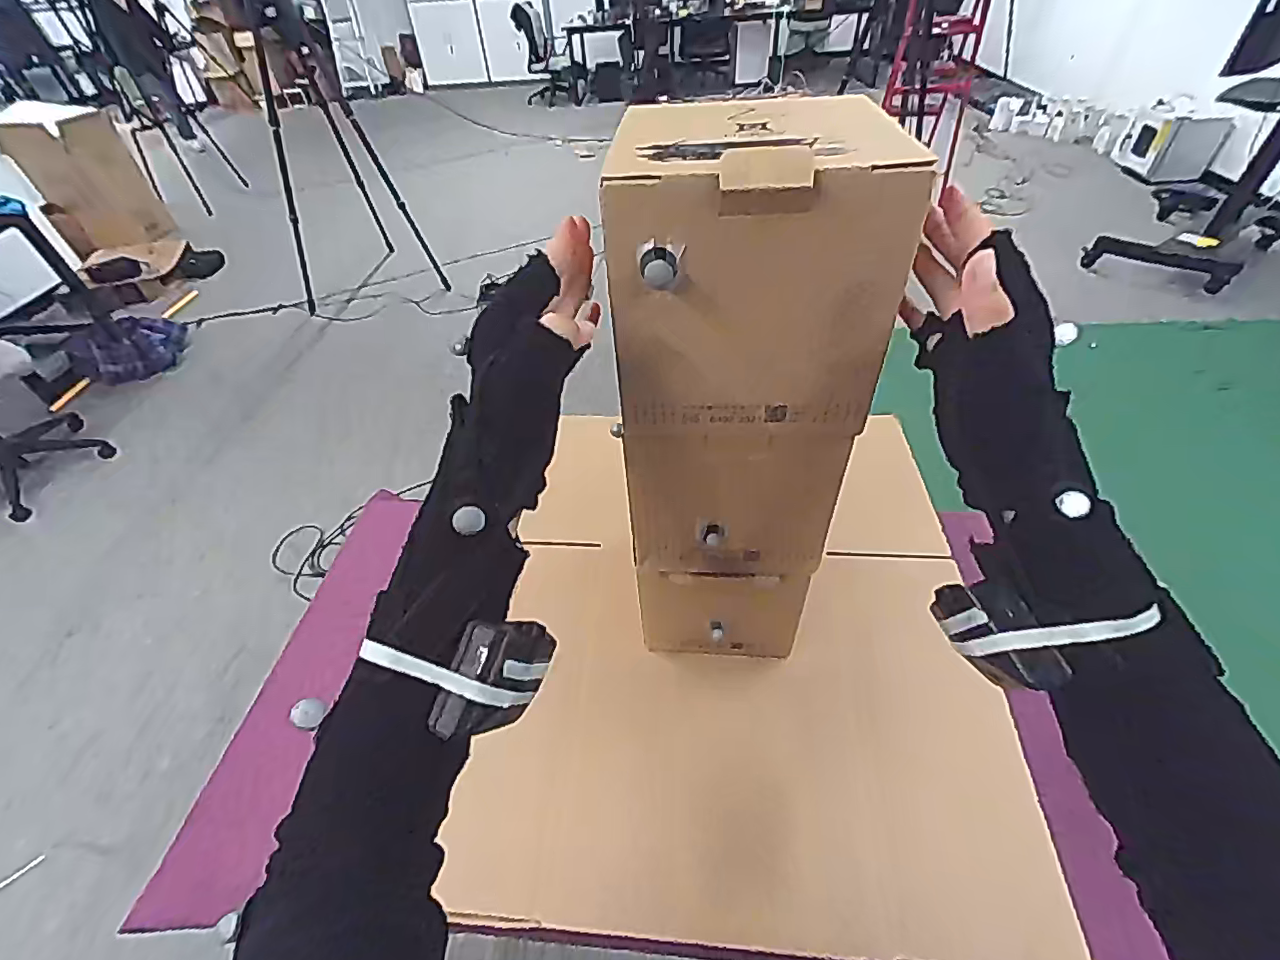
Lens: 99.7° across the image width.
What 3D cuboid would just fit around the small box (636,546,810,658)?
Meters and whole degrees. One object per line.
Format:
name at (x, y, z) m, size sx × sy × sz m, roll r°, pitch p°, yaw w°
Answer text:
small box at (0.090, 0.079, 0.619) m, size 0.168 × 0.176 × 0.179 m, roll 1°, pitch 45°, yaw 7°

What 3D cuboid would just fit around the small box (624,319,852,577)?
small box at (0.079, -0.032, 0.500) m, size 0.168 × 0.176 × 0.179 m, roll 0°, pitch 45°, yaw 5°
